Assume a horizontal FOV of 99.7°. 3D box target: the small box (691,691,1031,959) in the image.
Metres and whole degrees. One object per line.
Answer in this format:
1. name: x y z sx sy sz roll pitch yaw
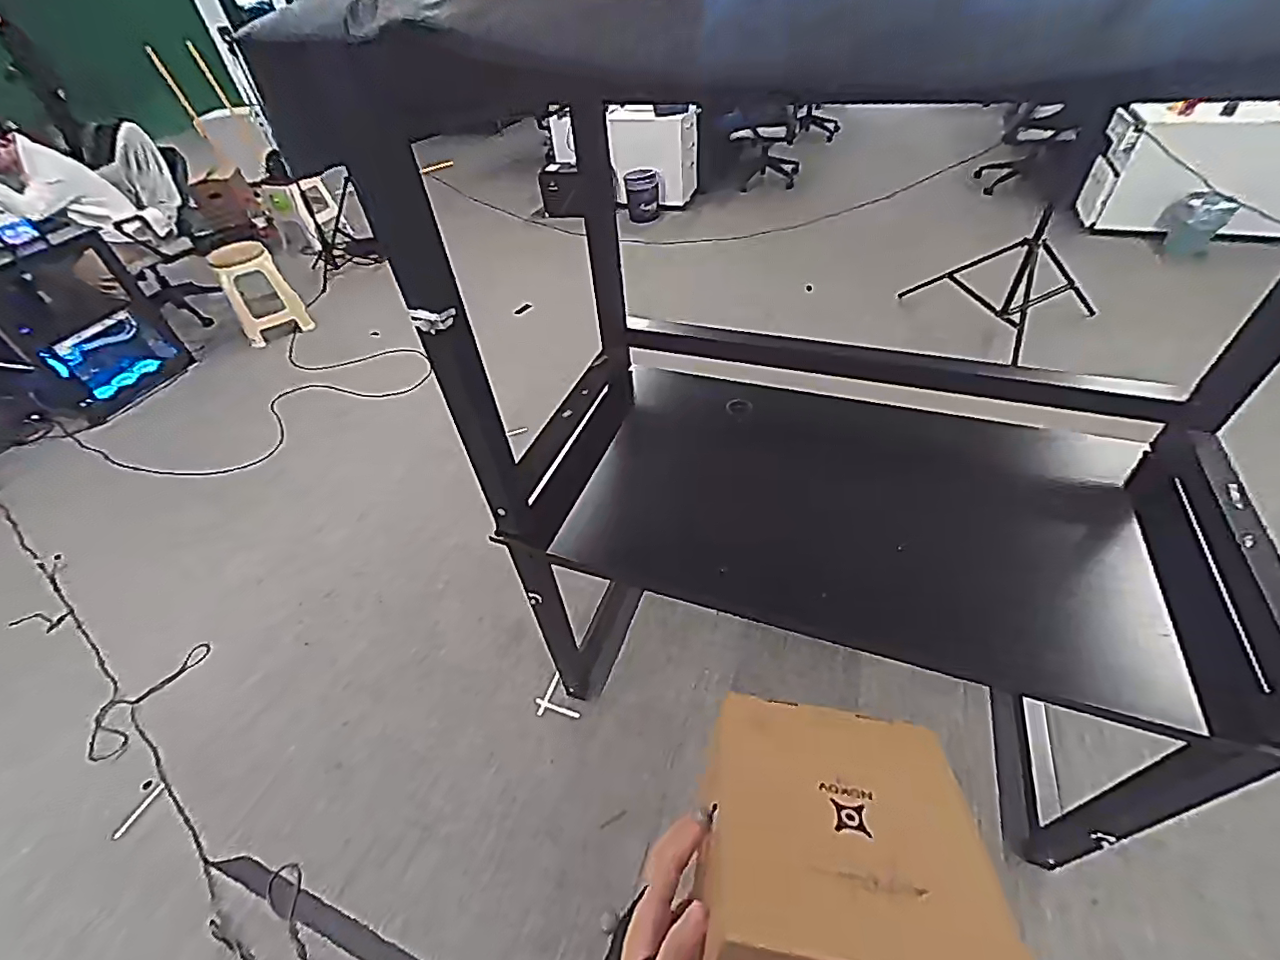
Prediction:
1. small box: 0.128 0.289 0.384 0.168 0.176 0.179 8 25 6
